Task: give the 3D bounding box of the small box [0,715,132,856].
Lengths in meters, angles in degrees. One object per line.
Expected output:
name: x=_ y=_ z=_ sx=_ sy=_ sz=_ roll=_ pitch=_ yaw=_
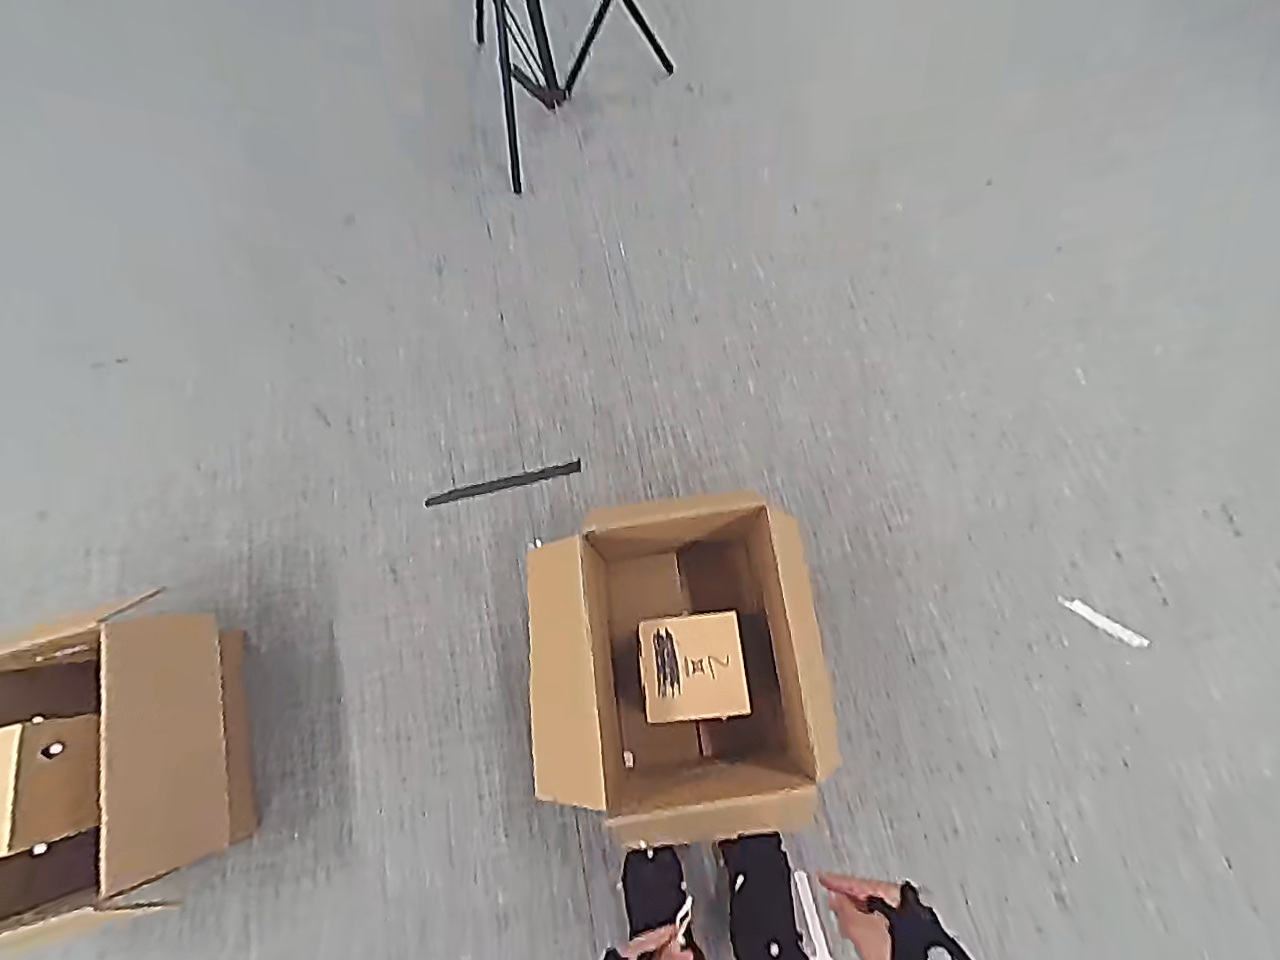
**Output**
small box: x=-0.966 y=0.485 z=0.860 sx=0.168 sy=0.176 sz=0.179 roll=-14 pitch=73 yaw=1
